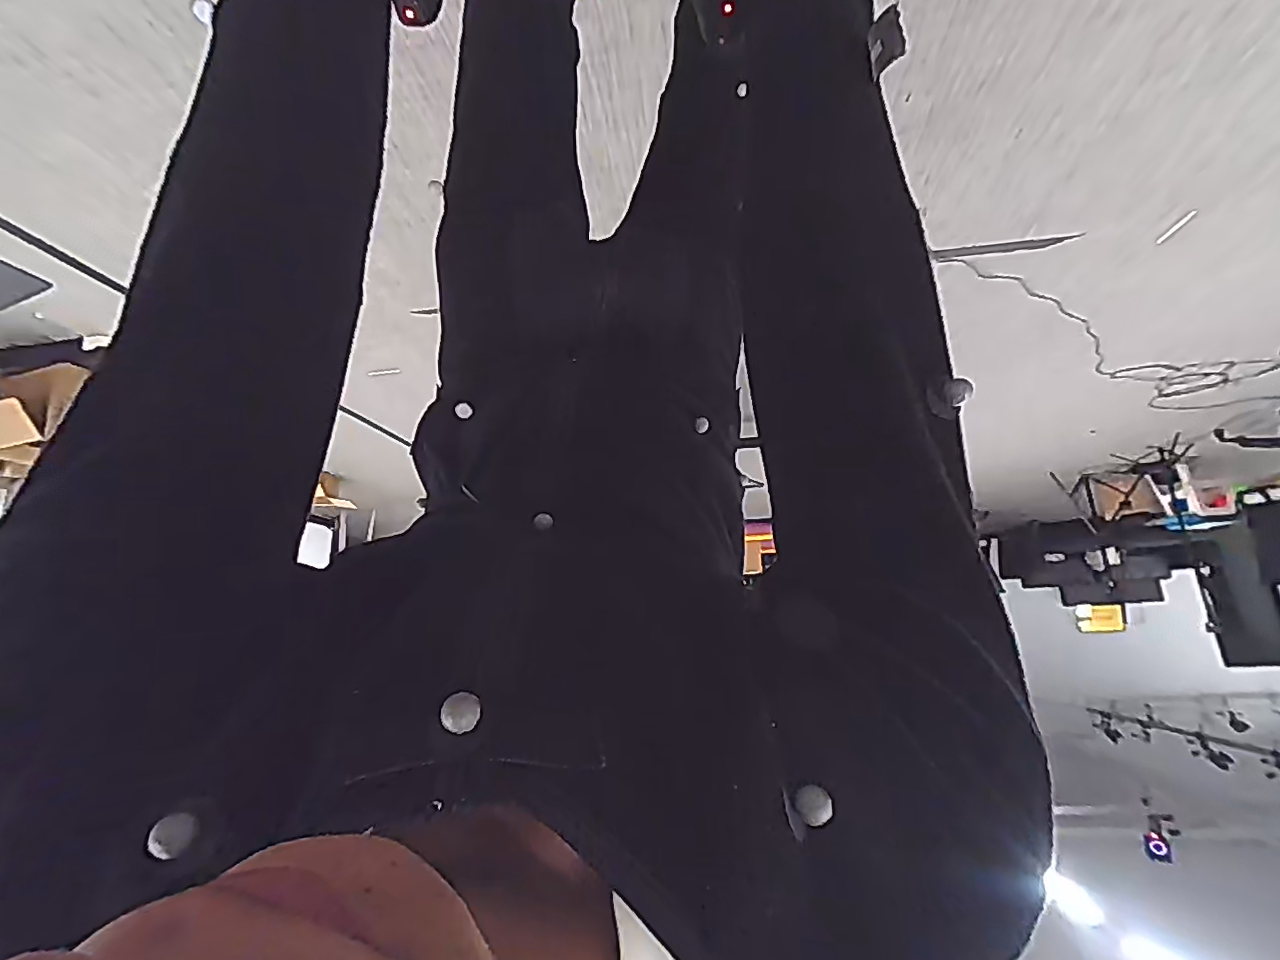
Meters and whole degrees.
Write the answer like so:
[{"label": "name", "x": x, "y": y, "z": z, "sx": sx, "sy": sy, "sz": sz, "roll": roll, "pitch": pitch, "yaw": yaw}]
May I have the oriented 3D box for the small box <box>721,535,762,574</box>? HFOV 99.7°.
[{"label": "small box", "x": 0.487, "y": 0.362, "z": 2.623, "sx": 0.179, "sy": 0.176, "sz": 0.168, "roll": -4, "pitch": 167, "yaw": 4}]
